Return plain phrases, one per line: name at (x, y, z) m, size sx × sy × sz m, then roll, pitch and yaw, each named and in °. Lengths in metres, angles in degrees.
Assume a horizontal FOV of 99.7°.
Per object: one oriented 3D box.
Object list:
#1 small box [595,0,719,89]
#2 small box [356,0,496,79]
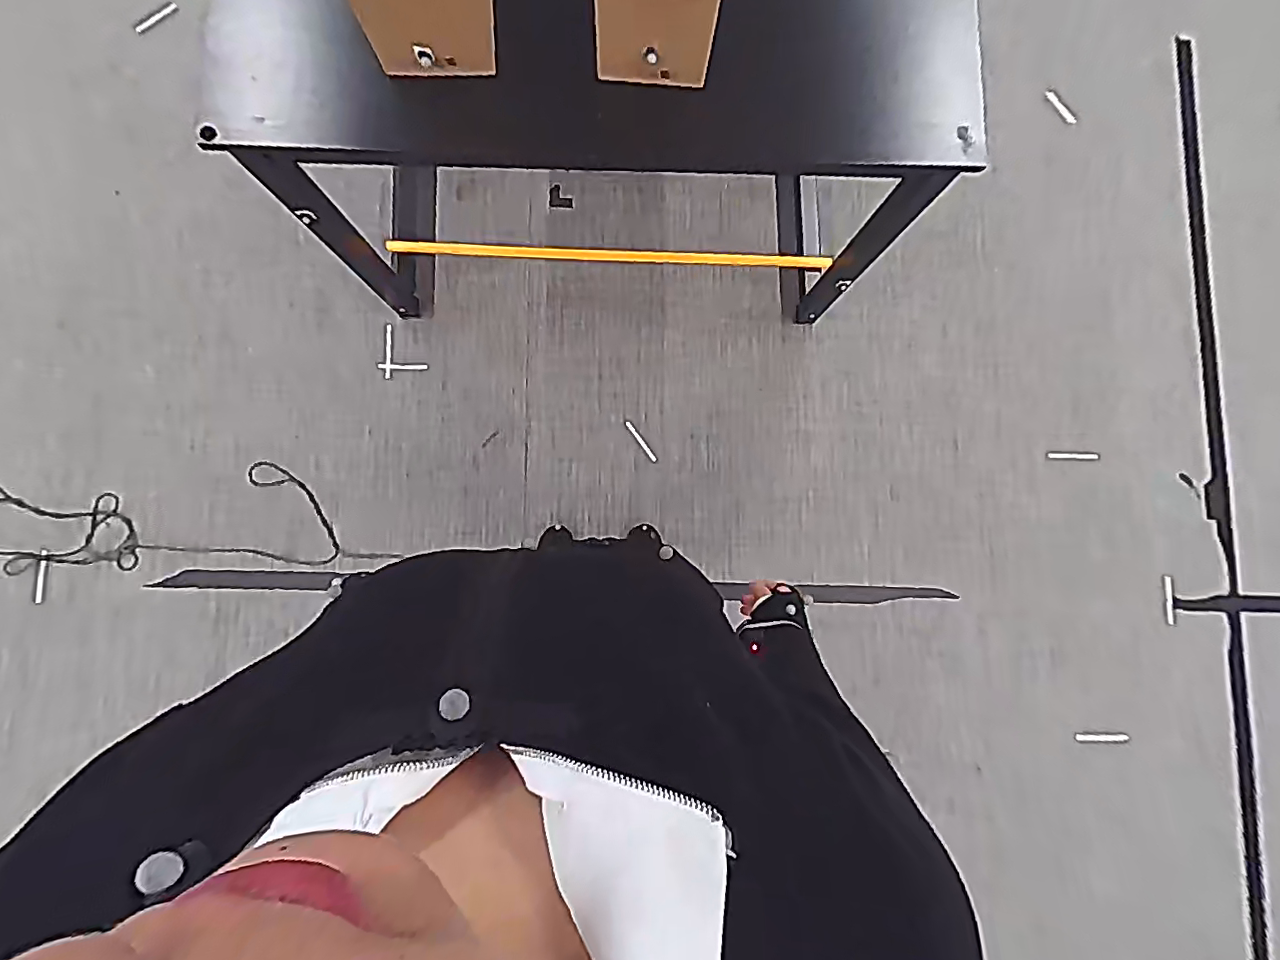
small box at (0.024, -0.709, 0.768) m, size 0.168 × 0.176 × 0.179 m, roll 4°, pitch 85°, yaw -2°
small box at (-0.303, -0.708, 0.754) m, size 0.168 × 0.176 × 0.179 m, roll -4°, pitch 86°, yaw -2°
